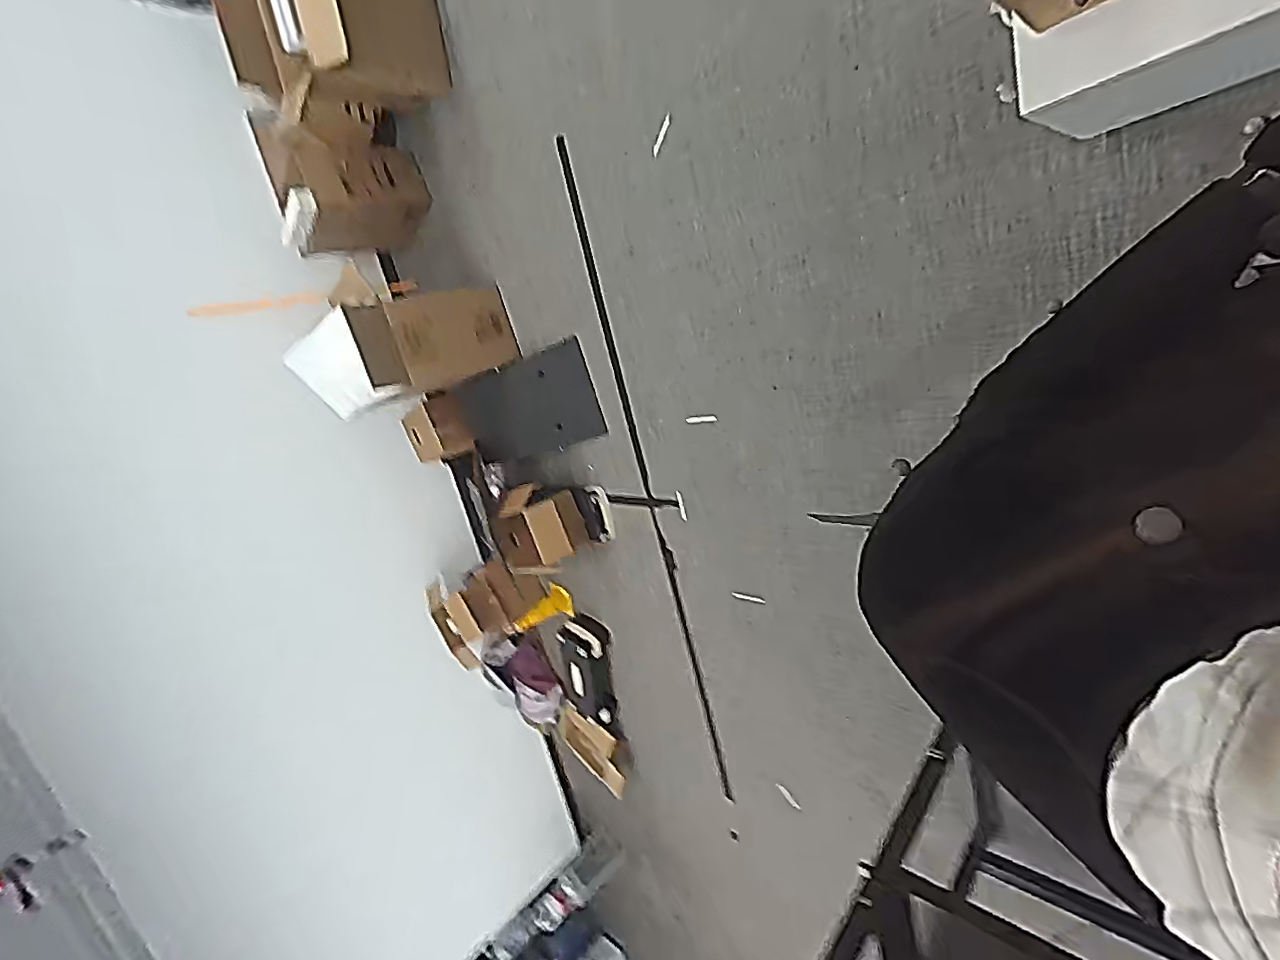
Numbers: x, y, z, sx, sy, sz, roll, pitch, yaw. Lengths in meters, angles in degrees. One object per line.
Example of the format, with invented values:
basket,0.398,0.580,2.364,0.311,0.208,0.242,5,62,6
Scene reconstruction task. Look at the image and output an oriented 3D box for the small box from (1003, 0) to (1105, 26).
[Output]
small box,0.524,-0.659,0.612,0.168,0.176,0.179,1,110,46
